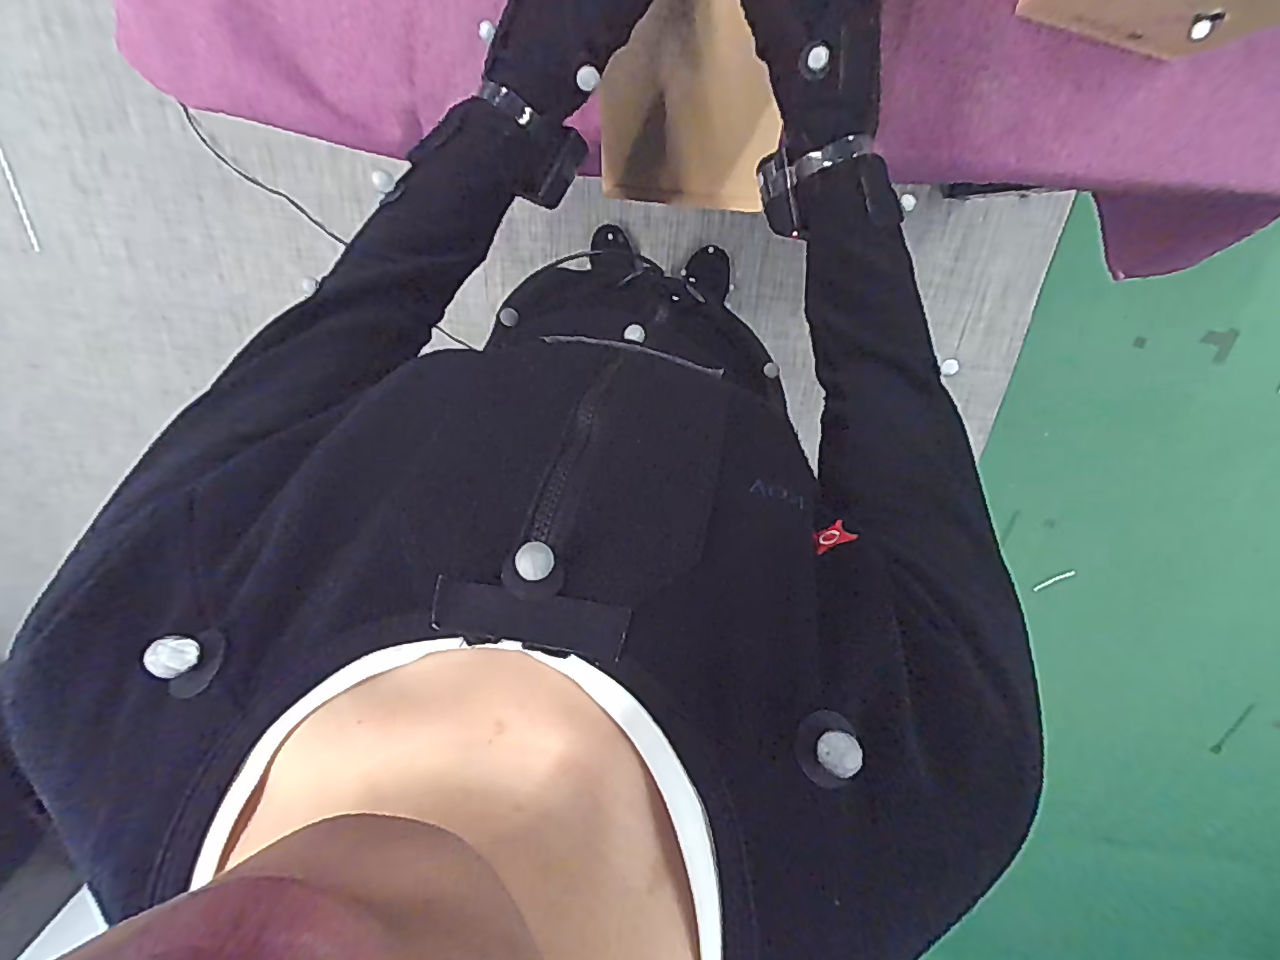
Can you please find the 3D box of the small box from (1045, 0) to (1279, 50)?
[{"bbox_3d":[0.448,-0.462,0.402,0.168,0.176,0.179,15,115,-2],"label":"small box"}]
